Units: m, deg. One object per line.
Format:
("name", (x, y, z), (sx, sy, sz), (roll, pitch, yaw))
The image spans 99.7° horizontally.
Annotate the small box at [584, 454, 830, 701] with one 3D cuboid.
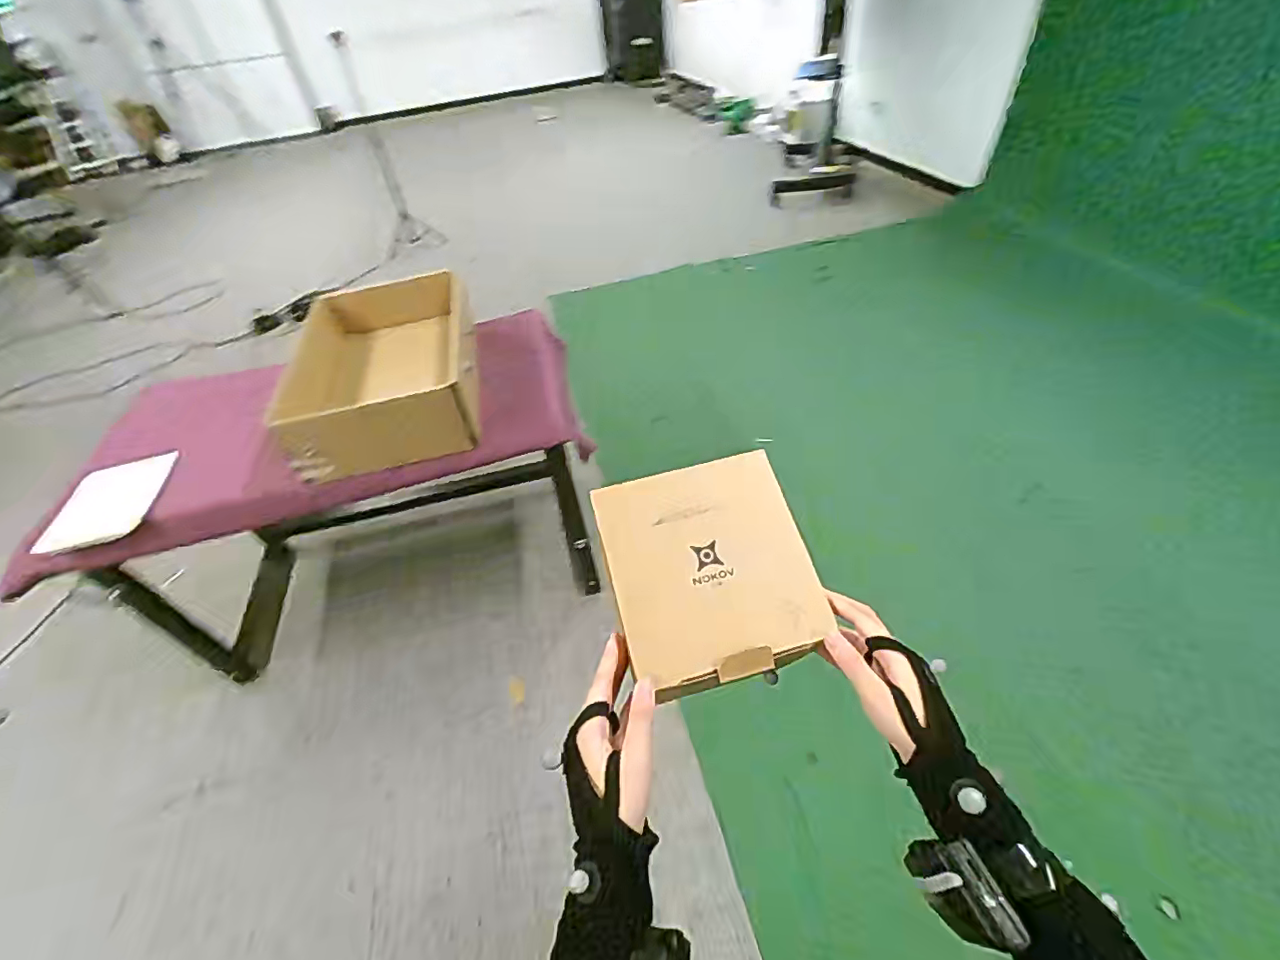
("small box", (0.050, 0.103, 0.518), (0.168, 0.176, 0.179), (-14, 65, -8))
